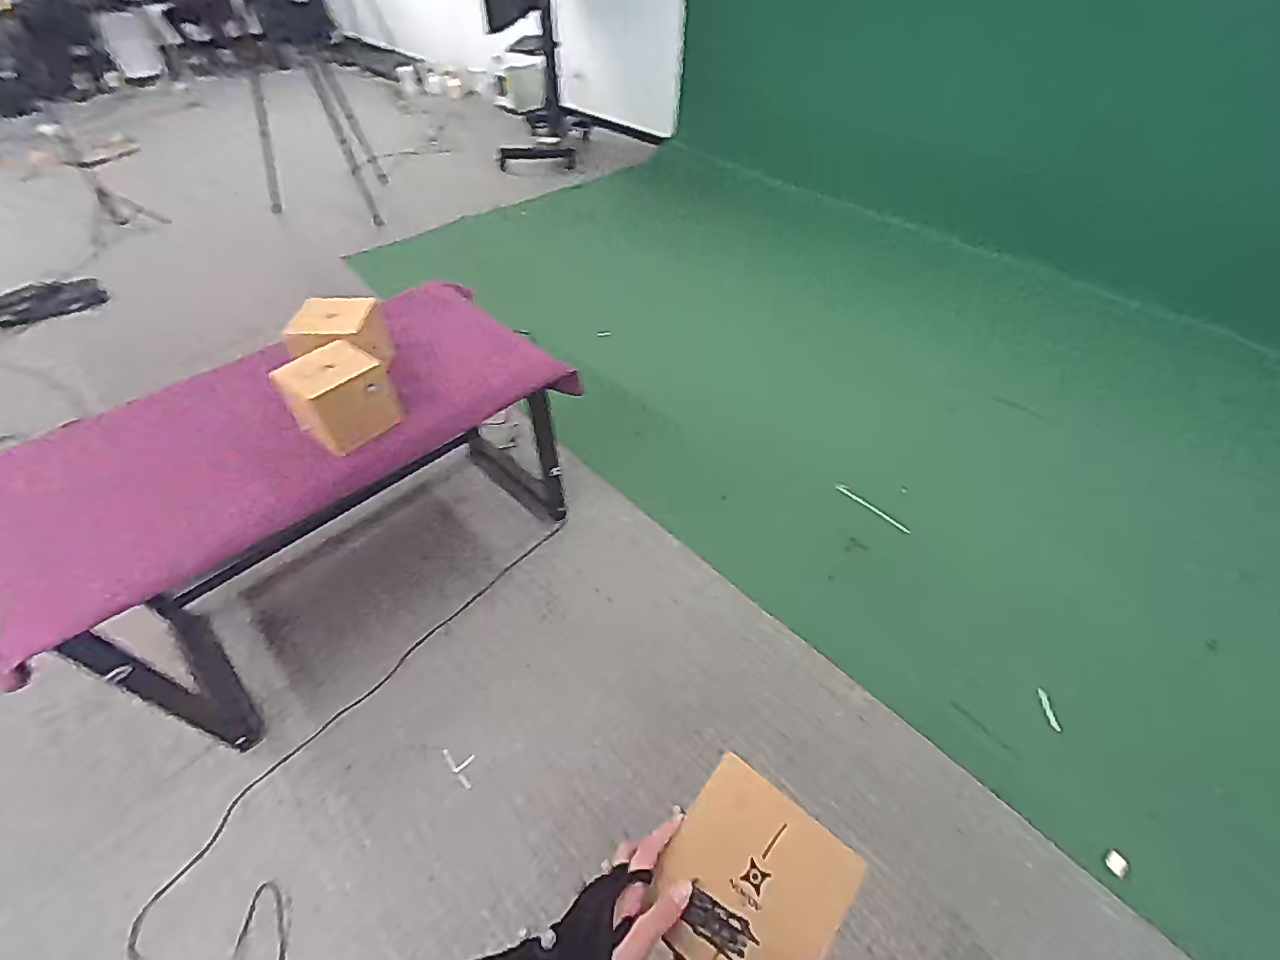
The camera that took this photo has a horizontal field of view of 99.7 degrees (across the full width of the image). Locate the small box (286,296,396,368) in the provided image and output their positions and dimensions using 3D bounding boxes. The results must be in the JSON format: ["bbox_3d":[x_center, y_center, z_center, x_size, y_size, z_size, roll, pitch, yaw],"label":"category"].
[{"bbox_3d":[-0.764,-0.358,1.408,0.179,0.176,0.168,-2,49,-1],"label":"small box"}]

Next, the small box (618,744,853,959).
[{"bbox_3d":[0.098,0.426,0.588,0.168,0.176,0.179,33,64,21],"label":"small box"}]

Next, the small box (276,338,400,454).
[{"bbox_3d":[-0.687,-0.195,1.258,0.168,0.176,0.179,30,55,26],"label":"small box"}]
